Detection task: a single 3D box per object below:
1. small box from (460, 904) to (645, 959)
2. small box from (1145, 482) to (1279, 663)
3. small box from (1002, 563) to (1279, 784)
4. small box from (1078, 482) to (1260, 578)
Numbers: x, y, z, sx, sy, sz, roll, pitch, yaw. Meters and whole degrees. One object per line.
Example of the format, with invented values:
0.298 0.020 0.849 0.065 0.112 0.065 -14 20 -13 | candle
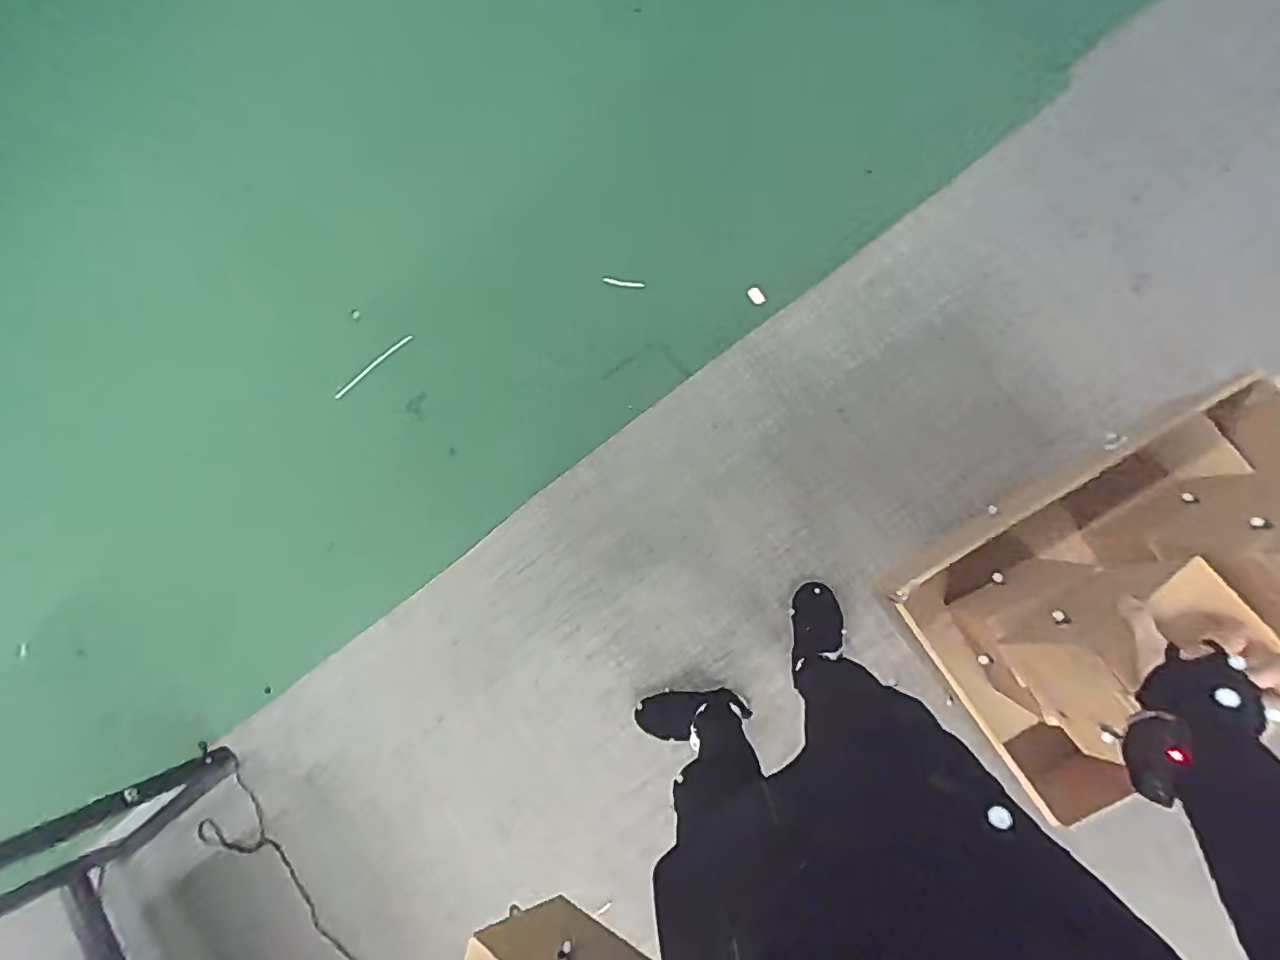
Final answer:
-0.114 0.650 0.644 0.179 0.176 0.168 5 75 35 | small box
0.795 0.109 0.656 0.179 0.176 0.168 -35 80 8 | small box
0.588 0.226 0.656 0.179 0.176 0.168 -31 75 -9 | small box
0.831 0.119 0.814 0.179 0.176 0.168 -34 79 8 | small box
